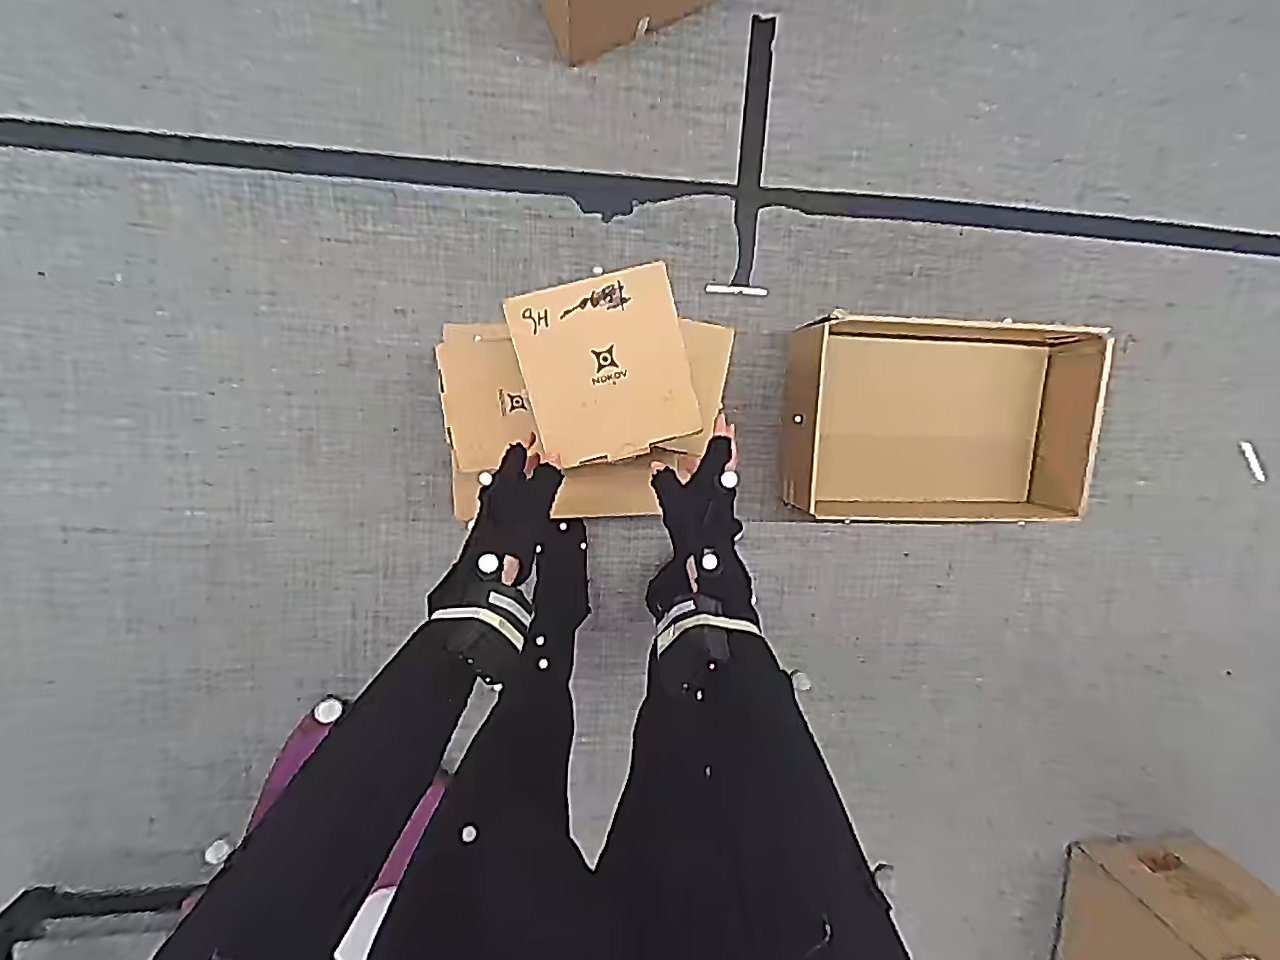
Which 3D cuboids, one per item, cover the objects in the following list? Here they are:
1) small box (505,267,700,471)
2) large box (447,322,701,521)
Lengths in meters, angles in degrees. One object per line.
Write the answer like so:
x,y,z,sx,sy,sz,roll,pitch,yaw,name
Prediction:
-0.042,-0.123,0.622,0.168,0.176,0.179,-15,100,-5,small box
-0.119,-0.114,1.026,0.408,0.320,0.320,-3,99,-7,large box
